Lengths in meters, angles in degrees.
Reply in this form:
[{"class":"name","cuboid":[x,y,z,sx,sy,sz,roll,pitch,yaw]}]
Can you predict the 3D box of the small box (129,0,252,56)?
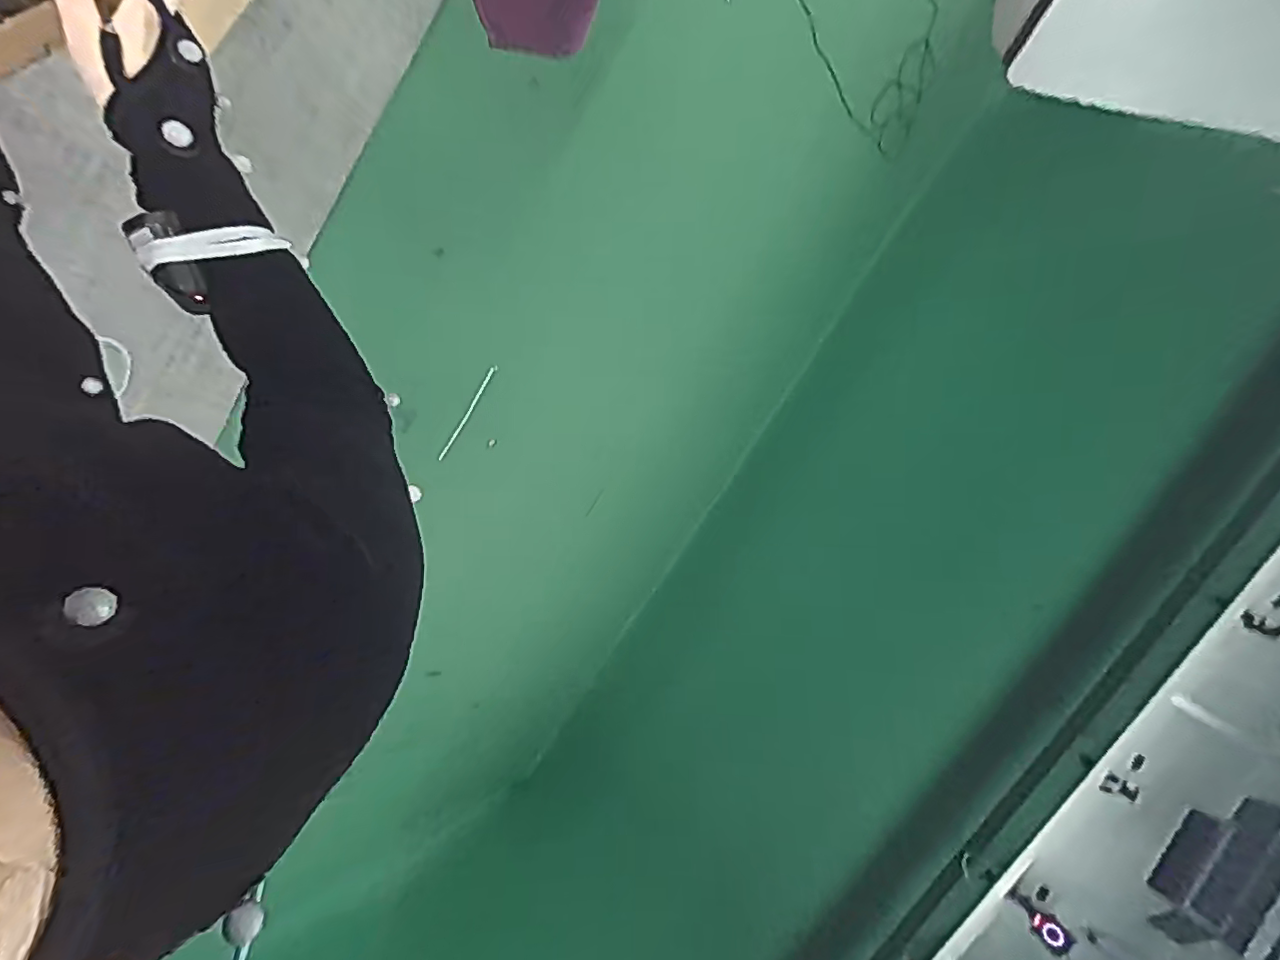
[{"class":"small box","cuboid":[-0.720,-0.800,0.821,0.179,0.176,0.168,-54,153,-1]}]
